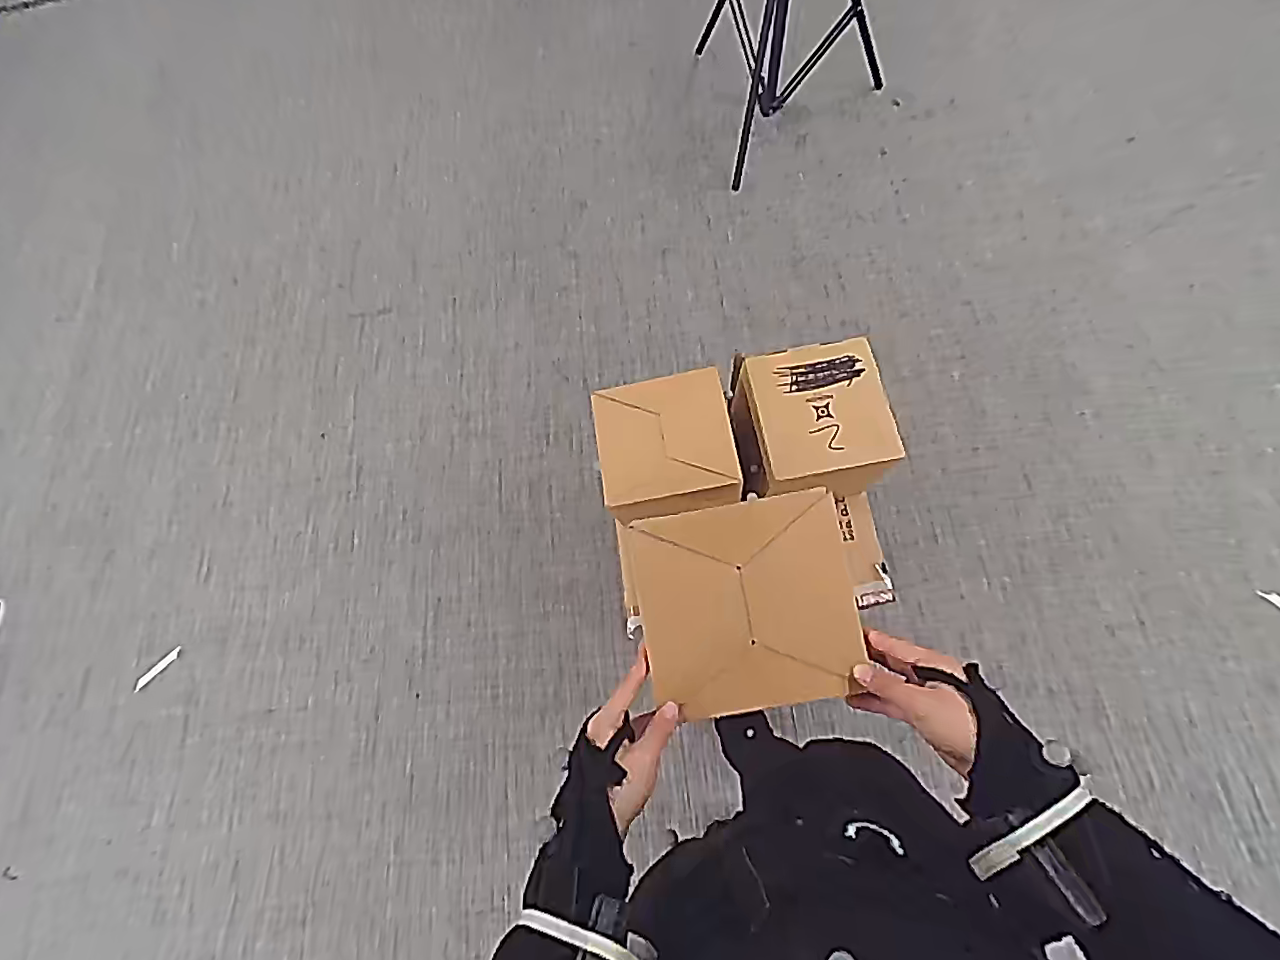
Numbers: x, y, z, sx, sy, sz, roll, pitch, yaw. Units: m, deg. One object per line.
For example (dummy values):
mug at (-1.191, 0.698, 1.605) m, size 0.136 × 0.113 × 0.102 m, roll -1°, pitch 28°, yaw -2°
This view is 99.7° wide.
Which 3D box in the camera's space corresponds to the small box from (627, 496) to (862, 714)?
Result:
small box at (0.087, 0.113, 0.527) m, size 0.179 × 0.176 × 0.168 m, roll -10°, pitch 83°, yaw 2°

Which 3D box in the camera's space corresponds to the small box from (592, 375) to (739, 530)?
small box at (0.042, -0.033, 0.780) m, size 0.179 × 0.176 × 0.168 m, roll -10°, pitch 72°, yaw 5°
